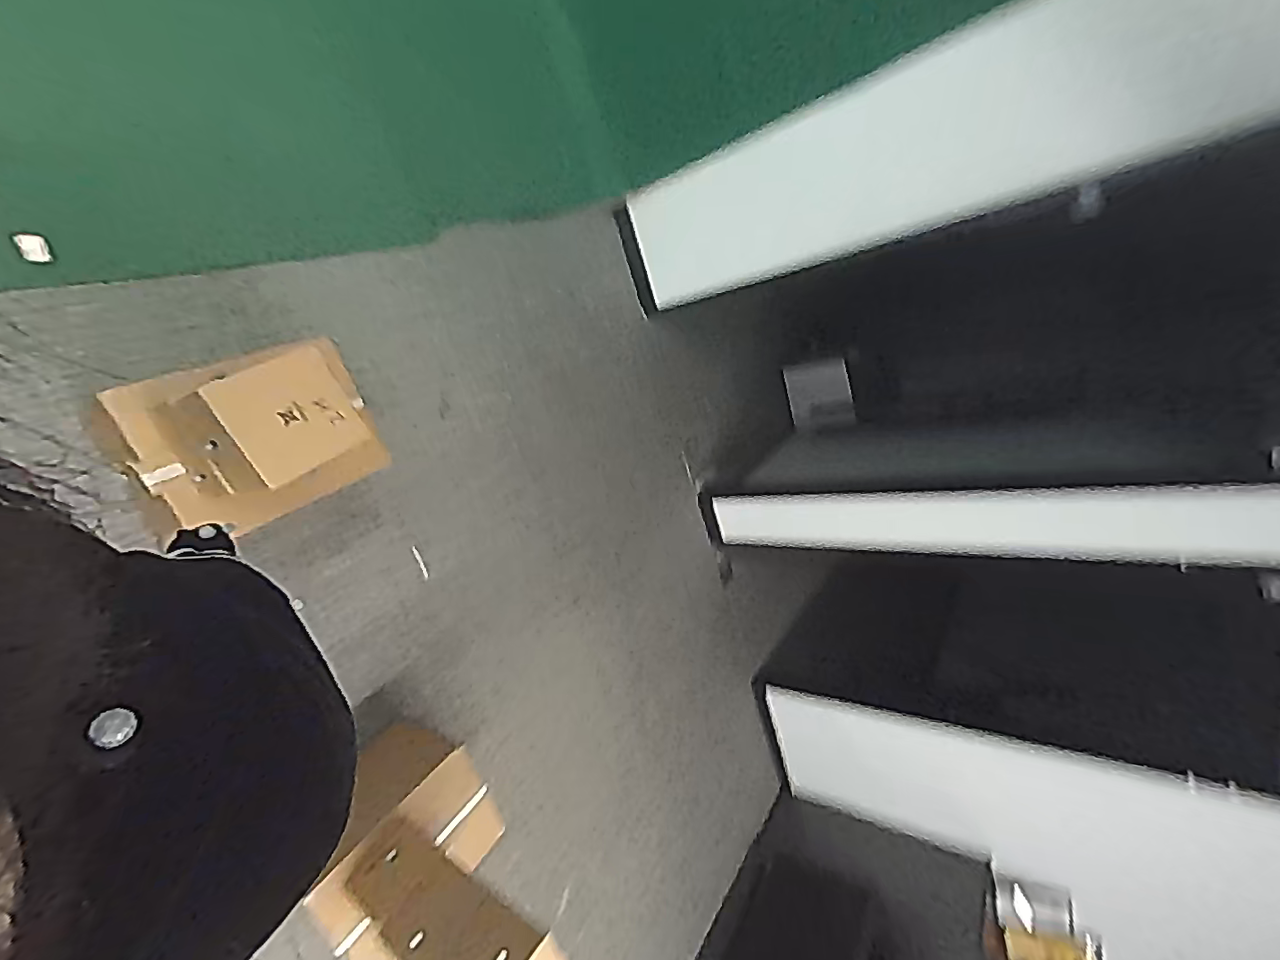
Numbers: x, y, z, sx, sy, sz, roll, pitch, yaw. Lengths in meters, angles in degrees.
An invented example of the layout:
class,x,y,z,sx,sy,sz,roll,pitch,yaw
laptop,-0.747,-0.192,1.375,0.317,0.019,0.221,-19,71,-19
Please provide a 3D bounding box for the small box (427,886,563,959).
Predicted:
class,x,y,z,sx,sy,sz,roll,pitch,yaw
small box,-0.258,0.889,0.968,0.179,0.176,0.168,-34,113,-44

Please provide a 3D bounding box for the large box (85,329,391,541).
class,x,y,z,sx,sy,sz,roll,pitch,yaw
large box,-0.856,-0.099,1.183,0.408,0.320,0.320,-38,117,-45

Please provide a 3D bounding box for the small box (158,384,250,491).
class,x,y,z,sx,sy,sz,roll,pitch,yaw
small box,-0.712,-0.092,0.973,0.168,0.176,0.179,-39,116,-45

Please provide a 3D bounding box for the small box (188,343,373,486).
class,x,y,z,sx,sy,sz,roll,pitch,yaw
small box,-0.582,-0.100,0.872,0.179,0.176,0.168,-44,121,-43

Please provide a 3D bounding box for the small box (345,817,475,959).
class,x,y,z,sx,sy,sz,roll,pitch,yaw
small box,-0.504,0.889,1.187,0.168,0.176,0.179,-39,116,-43
